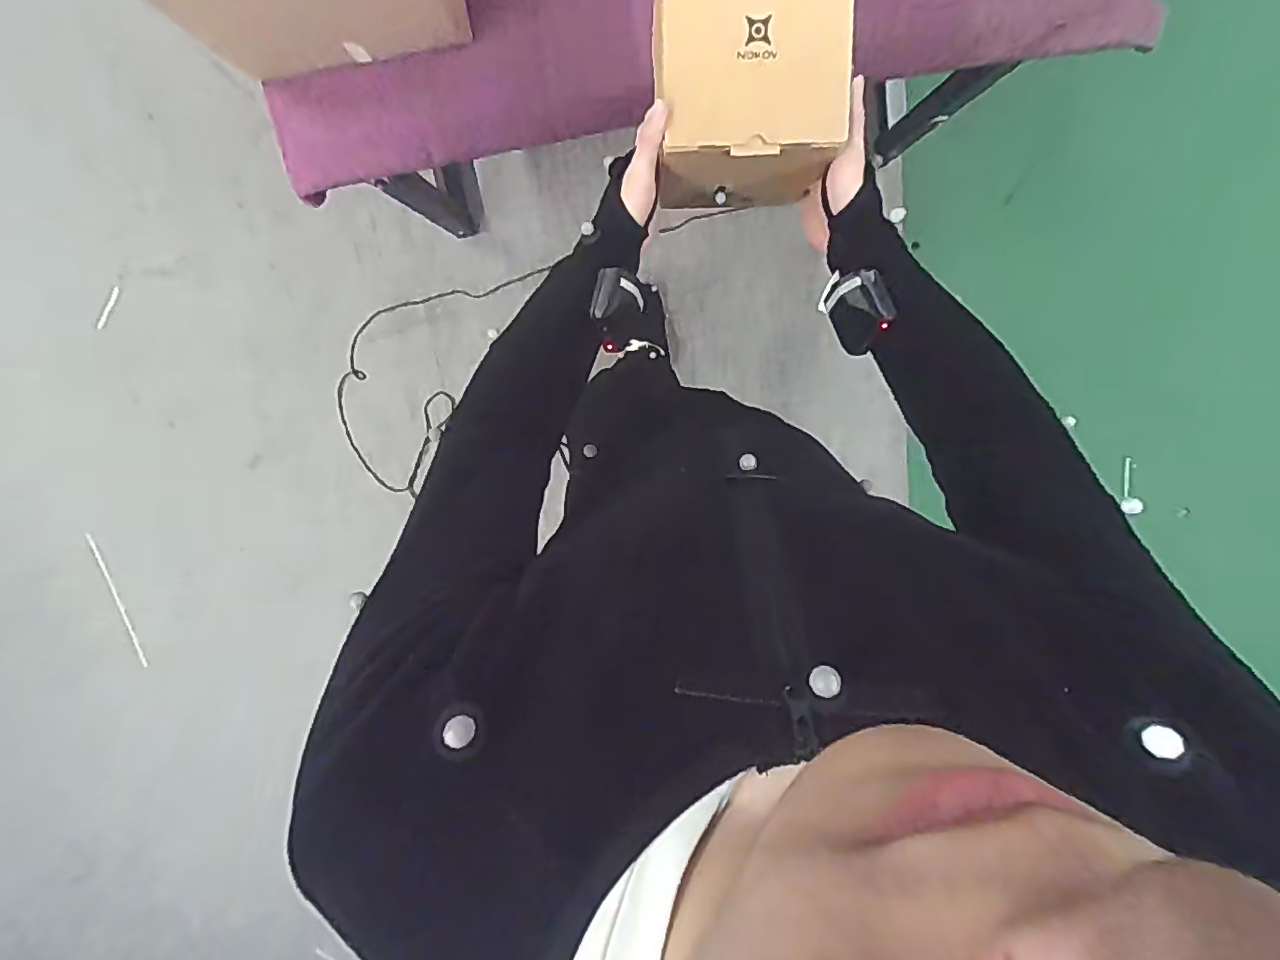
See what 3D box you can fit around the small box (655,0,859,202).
[{"bbox_3d":[0.102,-0.397,0.538,0.168,0.176,0.179,-2,102,0],"label":"small box"}]
